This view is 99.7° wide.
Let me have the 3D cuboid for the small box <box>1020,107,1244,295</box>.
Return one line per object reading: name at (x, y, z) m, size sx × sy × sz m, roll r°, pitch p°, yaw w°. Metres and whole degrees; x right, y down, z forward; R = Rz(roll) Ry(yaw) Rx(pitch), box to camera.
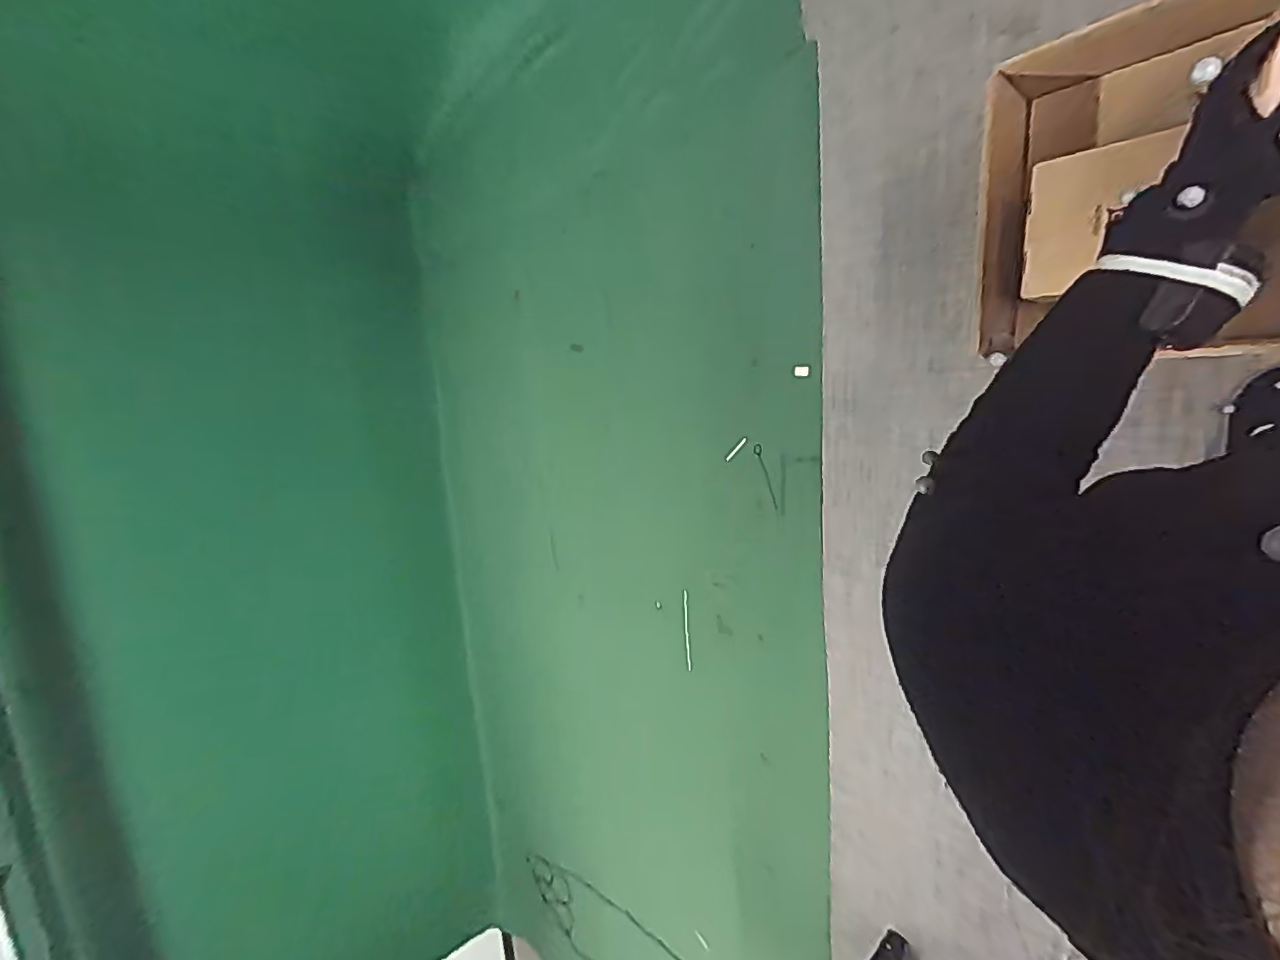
small box at (0.623, -0.334, 0.690) m, size 0.179 × 0.176 × 0.168 m, roll 12°, pitch 109°, yaw 49°
